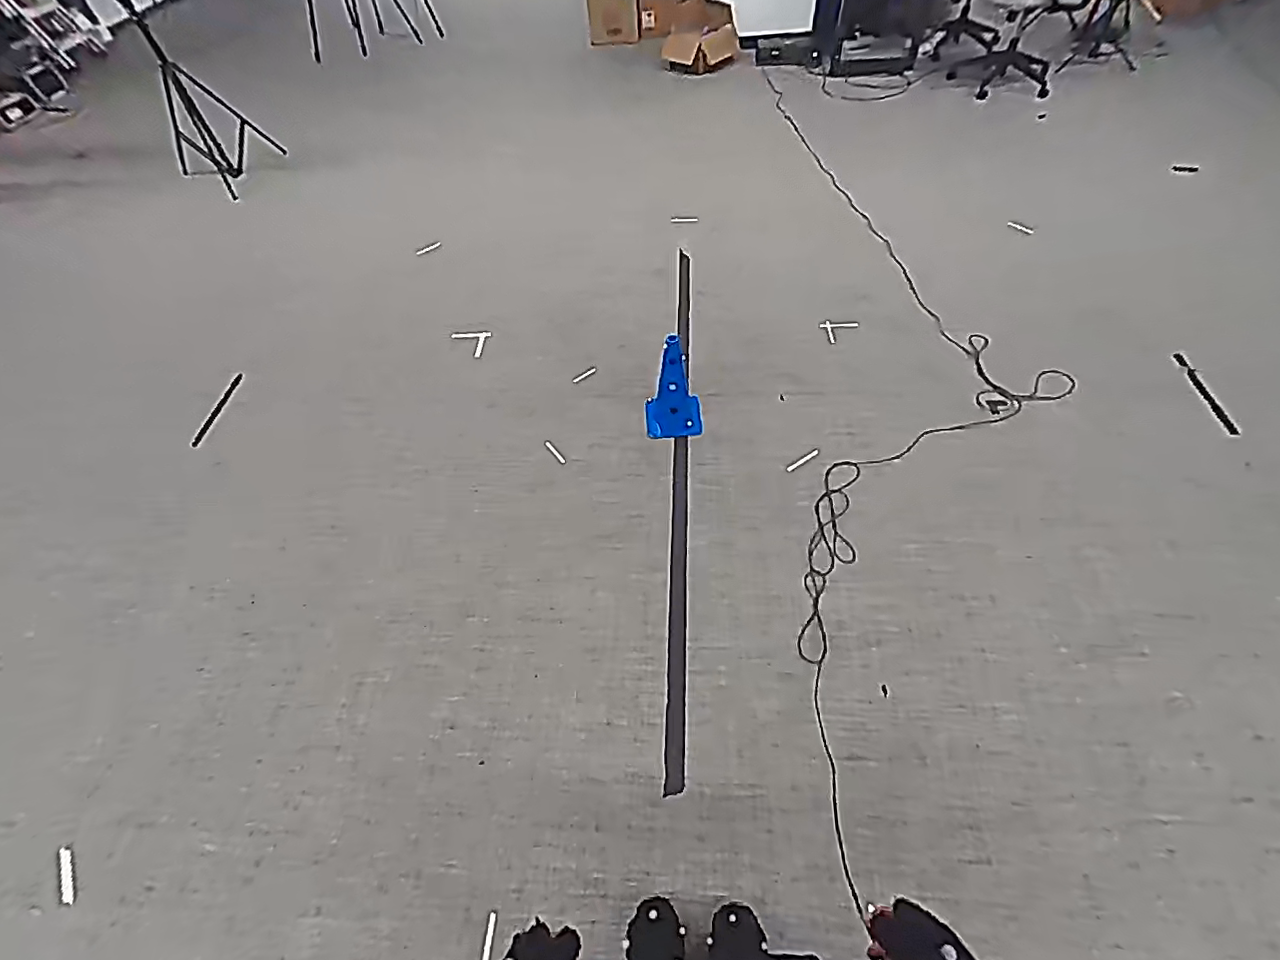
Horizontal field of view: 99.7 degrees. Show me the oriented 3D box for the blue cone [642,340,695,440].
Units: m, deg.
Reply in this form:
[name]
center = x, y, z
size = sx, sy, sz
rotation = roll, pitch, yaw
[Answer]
[blue cone]
center = 0.091, -0.324, 1.859
size = 0.192, 0.380, 0.193
rotation = -3, 52, 3
